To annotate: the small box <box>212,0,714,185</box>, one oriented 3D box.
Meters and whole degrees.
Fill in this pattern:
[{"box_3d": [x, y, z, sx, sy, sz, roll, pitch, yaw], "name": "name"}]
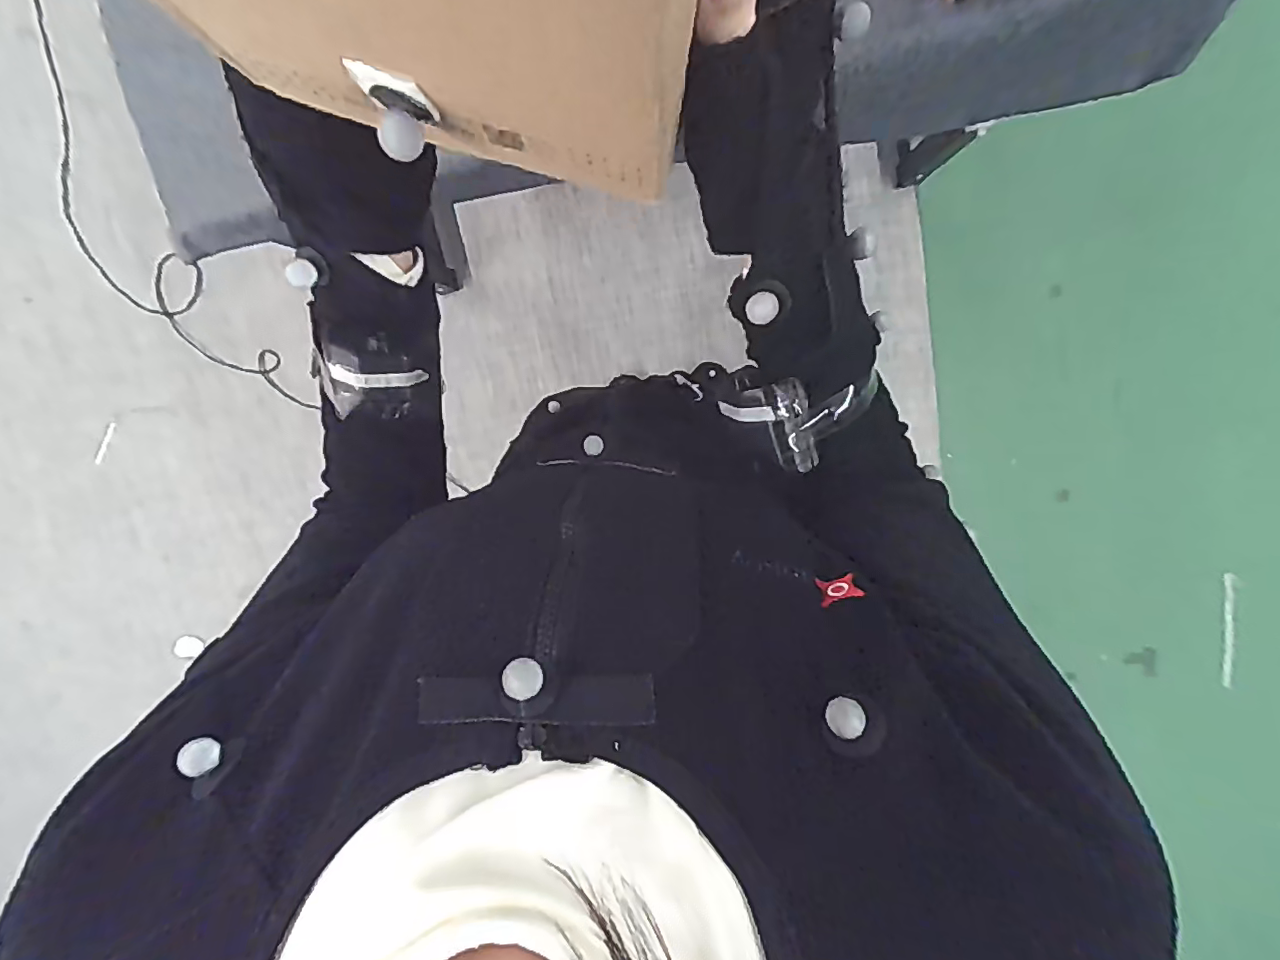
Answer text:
[{"box_3d": [-0.050, -0.215, 0.140, 0.168, 0.176, 0.179, 14, 98, 0], "name": "small box"}]
